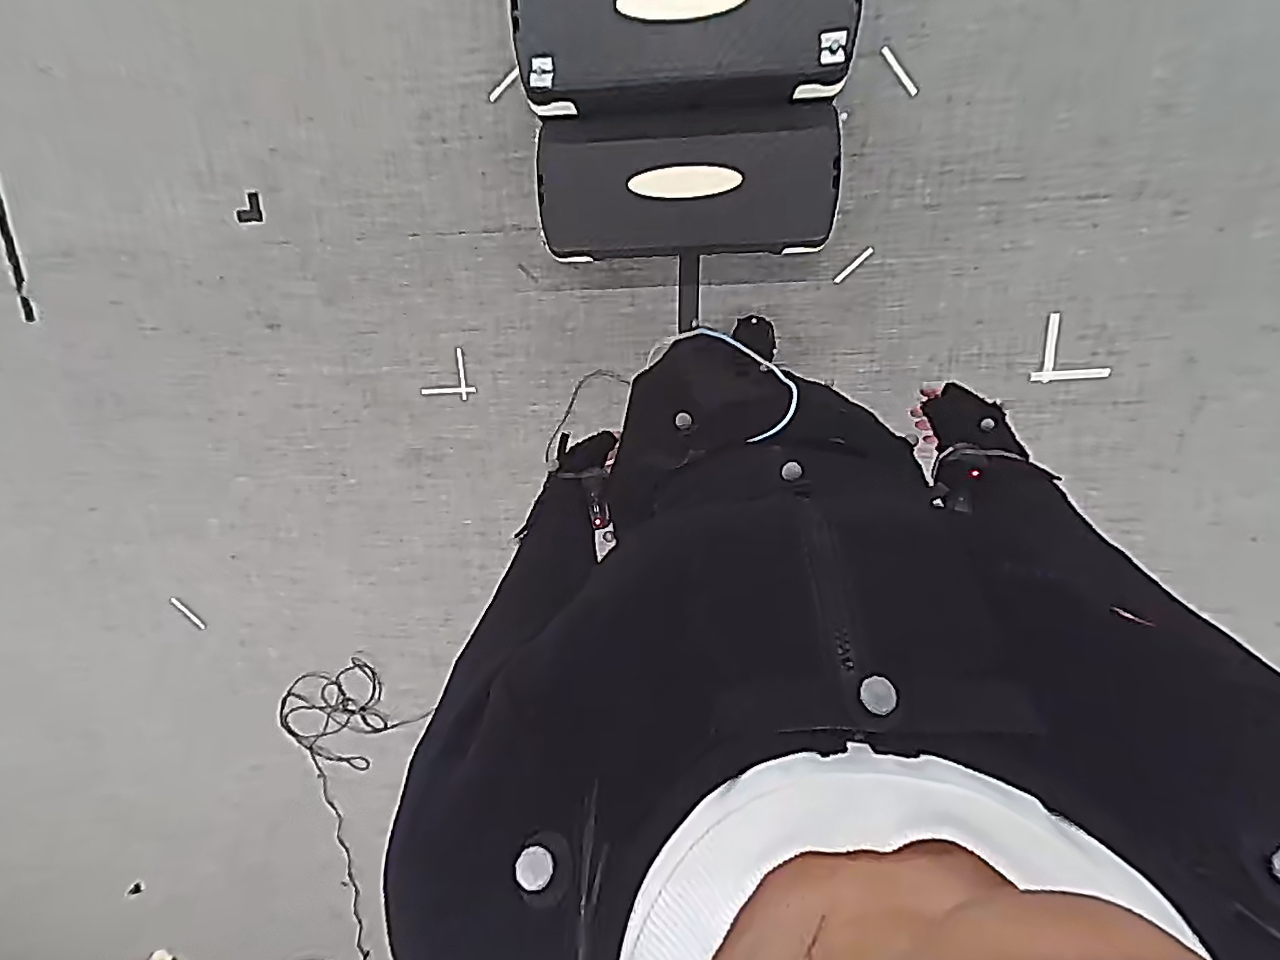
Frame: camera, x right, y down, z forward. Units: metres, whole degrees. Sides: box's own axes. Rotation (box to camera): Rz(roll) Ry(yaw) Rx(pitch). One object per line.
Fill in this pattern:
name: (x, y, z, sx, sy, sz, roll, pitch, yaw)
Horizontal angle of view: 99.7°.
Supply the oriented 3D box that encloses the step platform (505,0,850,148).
step platform: (0.071, -0.899, 1.122, 0.684, 0.204, 0.286, -1, 106, 5)
